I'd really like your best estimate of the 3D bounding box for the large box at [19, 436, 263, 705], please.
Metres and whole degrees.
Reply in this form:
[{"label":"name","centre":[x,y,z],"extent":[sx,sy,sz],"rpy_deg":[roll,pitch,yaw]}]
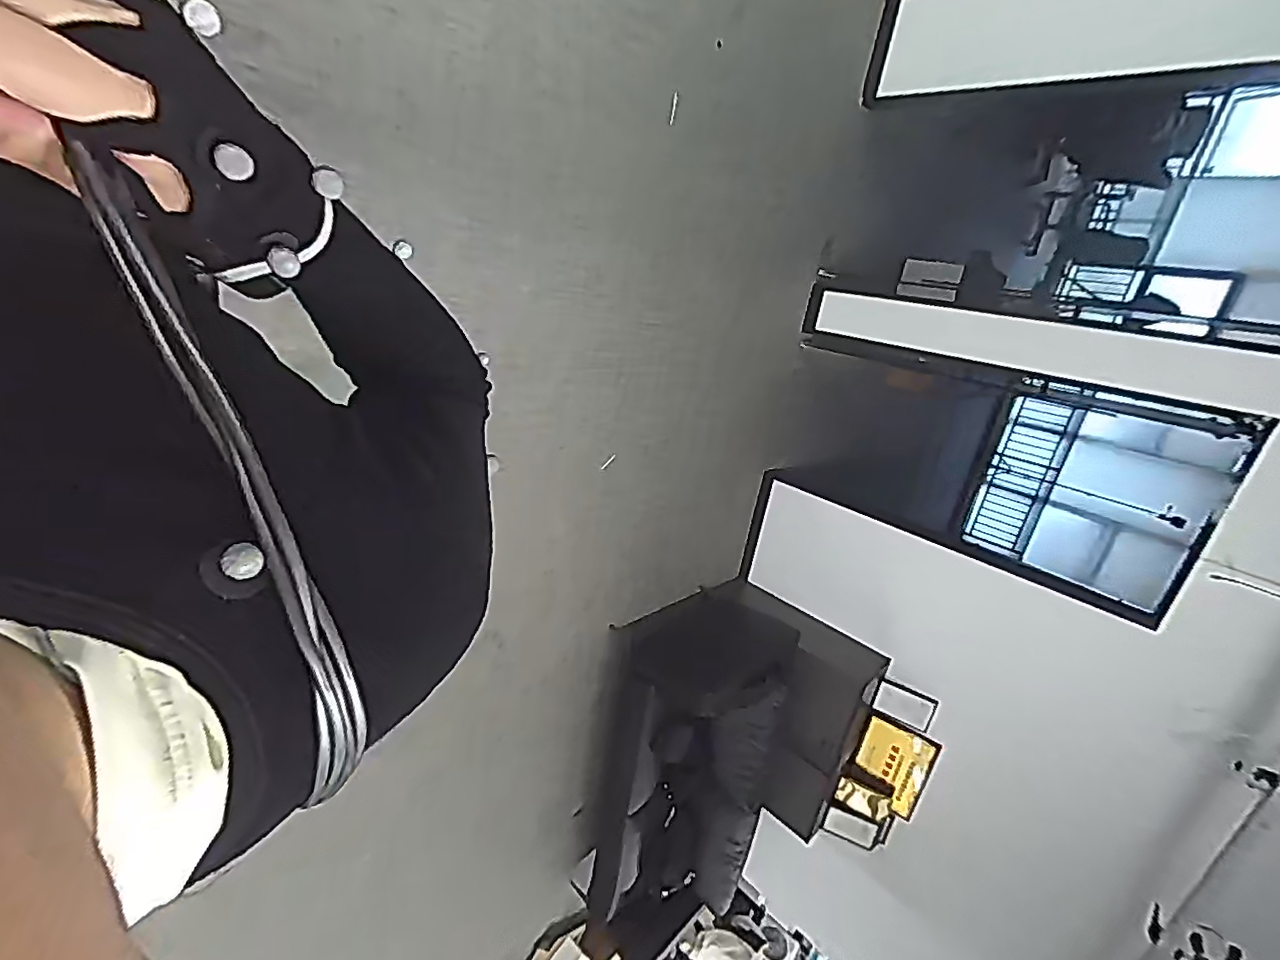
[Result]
[{"label":"large box","centre":[-0.996,0.147,1.078],"extent":[0.320,0.320,0.408],"rpy_deg":[1,109,-49]}]
